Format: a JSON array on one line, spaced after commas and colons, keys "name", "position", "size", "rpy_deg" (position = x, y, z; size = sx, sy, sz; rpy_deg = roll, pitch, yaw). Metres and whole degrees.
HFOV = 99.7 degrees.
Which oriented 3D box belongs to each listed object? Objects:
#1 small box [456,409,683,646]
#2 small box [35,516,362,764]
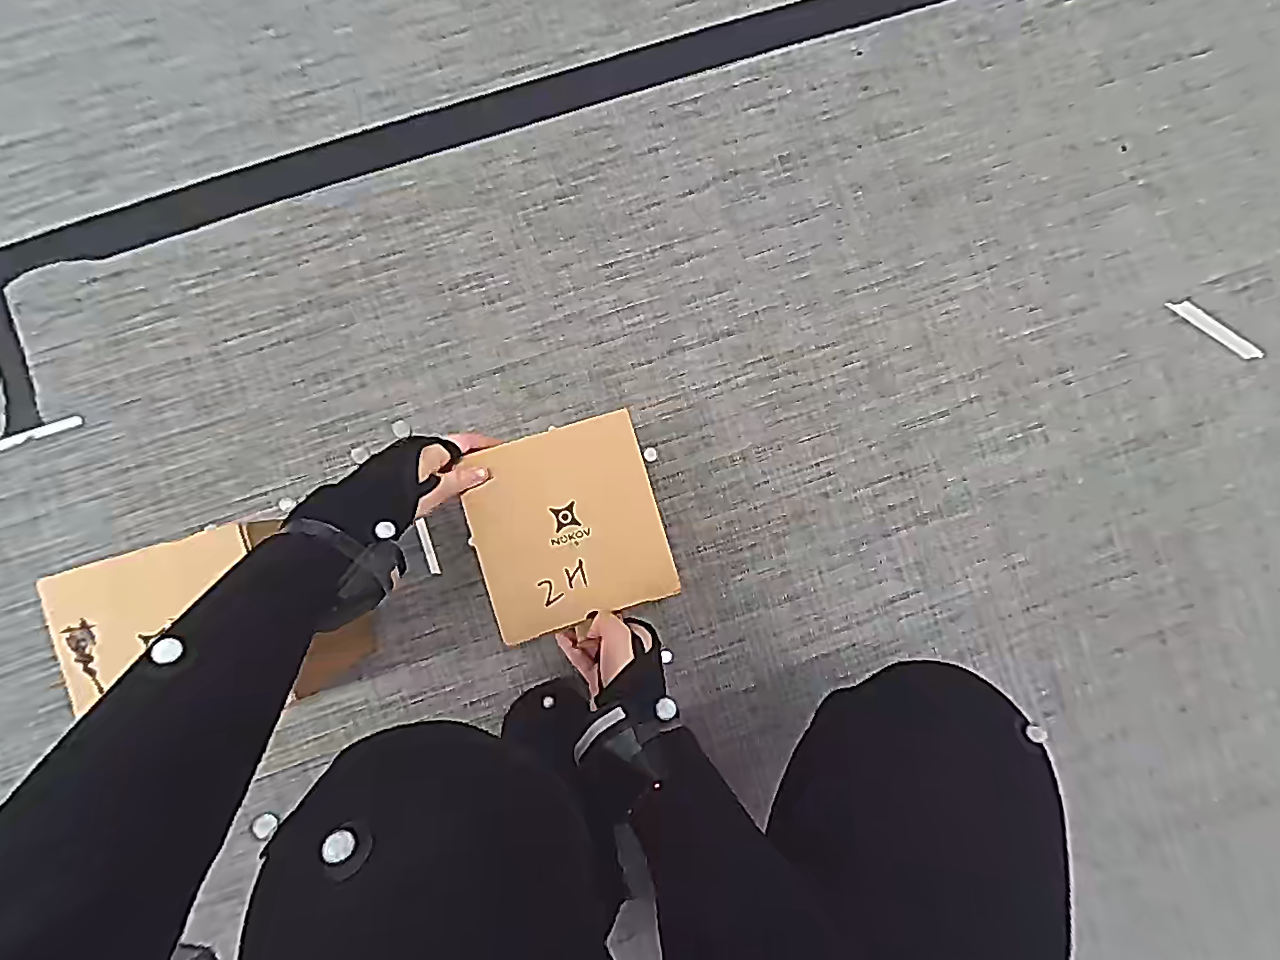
[{"name": "small box", "position": [-0.066, 0.043, 0.552], "size": [0.168, 0.176, 0.179], "rpy_deg": [-16, 90, -3]}, {"name": "small box", "position": [-0.401, 0.136, 0.533], "size": [0.179, 0.176, 0.168], "rpy_deg": [-16, 90, -5]}]
